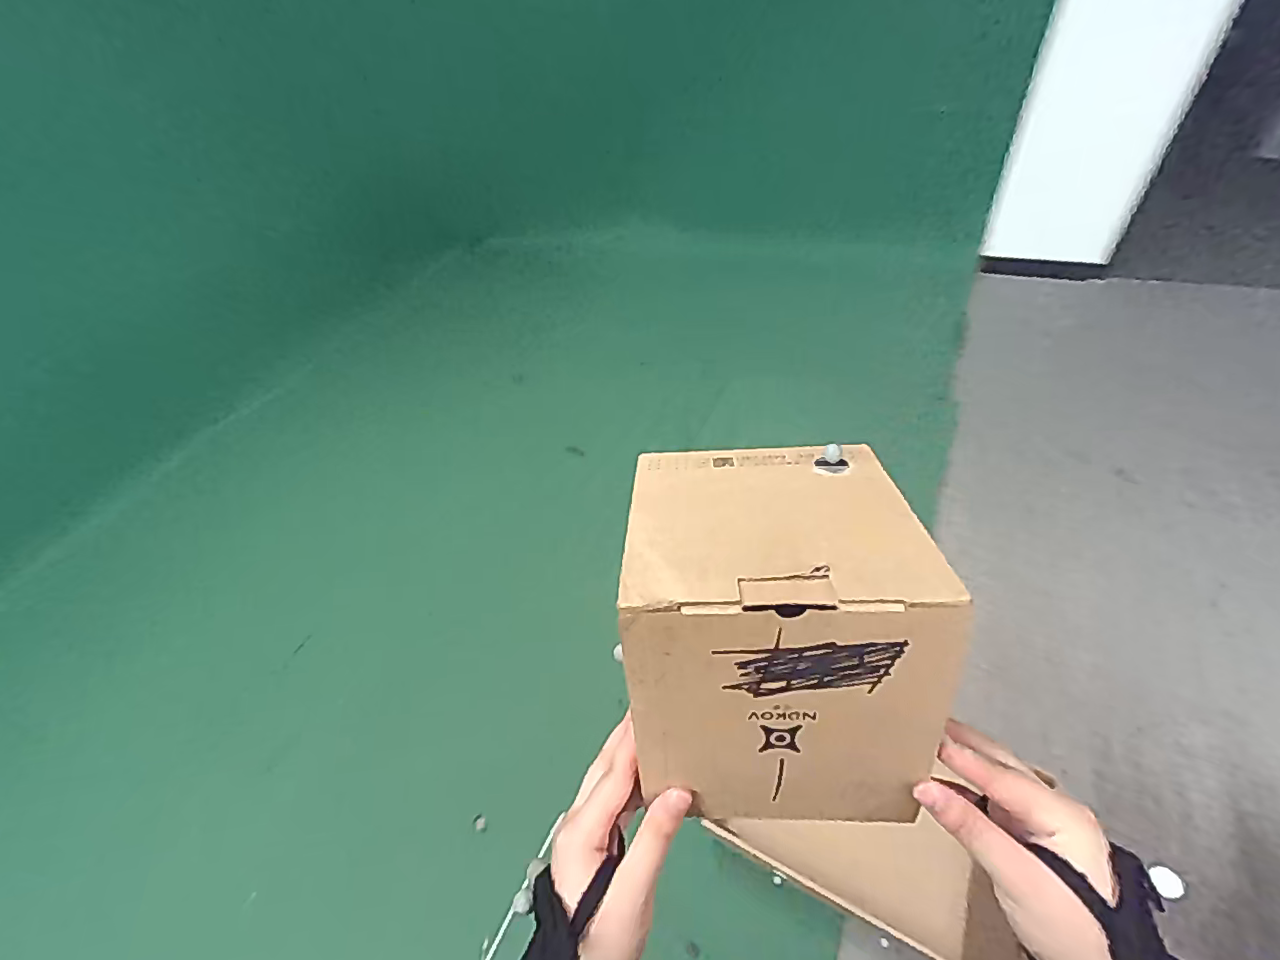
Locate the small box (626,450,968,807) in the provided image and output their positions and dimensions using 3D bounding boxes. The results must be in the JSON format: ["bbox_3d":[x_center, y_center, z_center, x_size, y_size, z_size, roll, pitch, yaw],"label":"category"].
[{"bbox_3d":[0.081,0.087,0.365,0.168,0.179,0.176,-3,30,5],"label":"small box"}]
